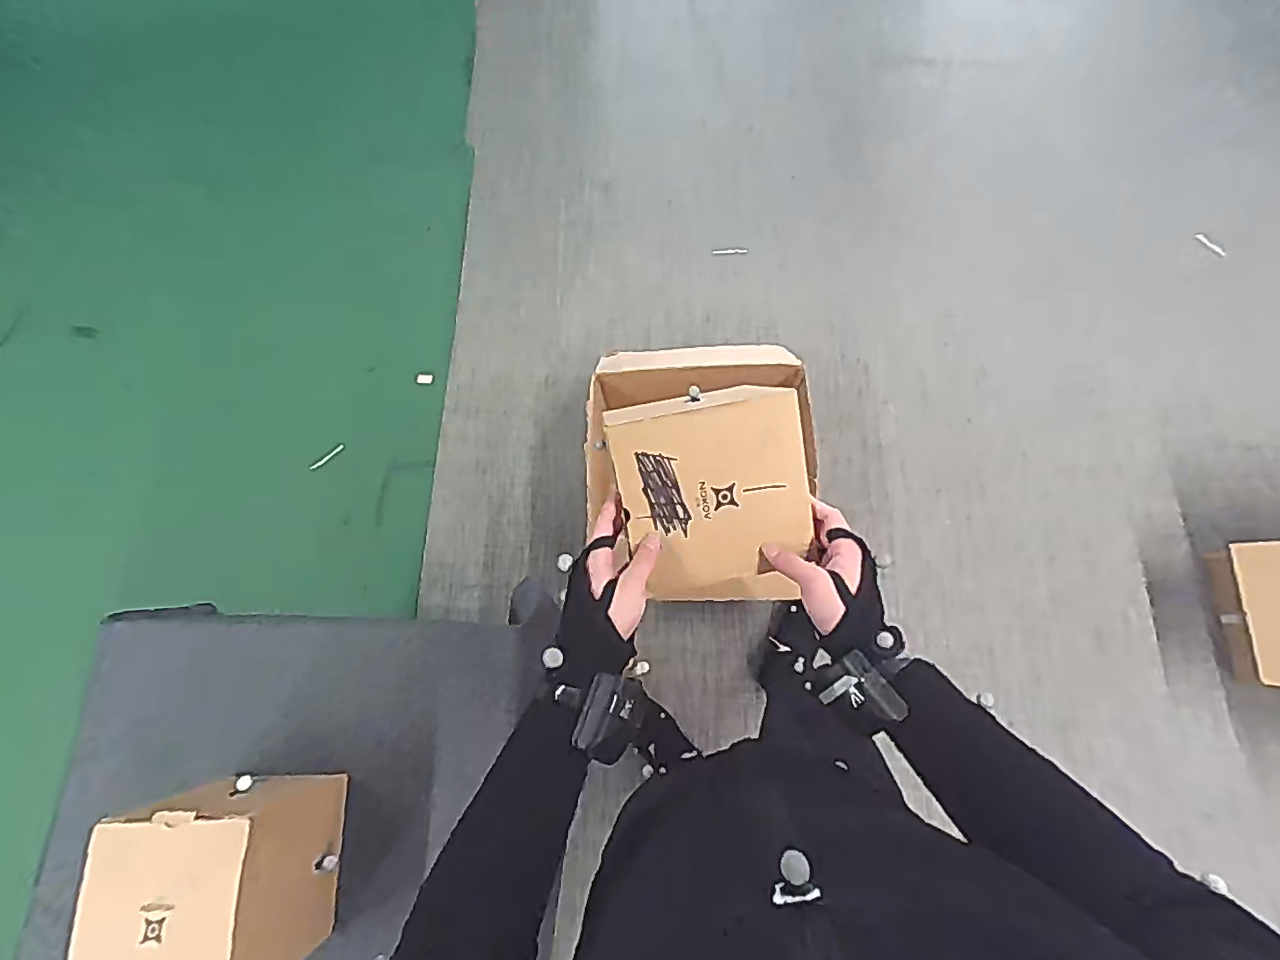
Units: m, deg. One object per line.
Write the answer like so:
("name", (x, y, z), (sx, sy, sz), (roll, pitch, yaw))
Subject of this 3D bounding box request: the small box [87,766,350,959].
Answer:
("small box", (-0.460, 0.440, 0.620), (0.168, 0.176, 0.179), (-5, 74, 2))

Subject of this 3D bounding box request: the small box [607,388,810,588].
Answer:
("small box", (0.061, -0.004, 0.567), (0.179, 0.176, 0.168), (-7, 103, -3))
